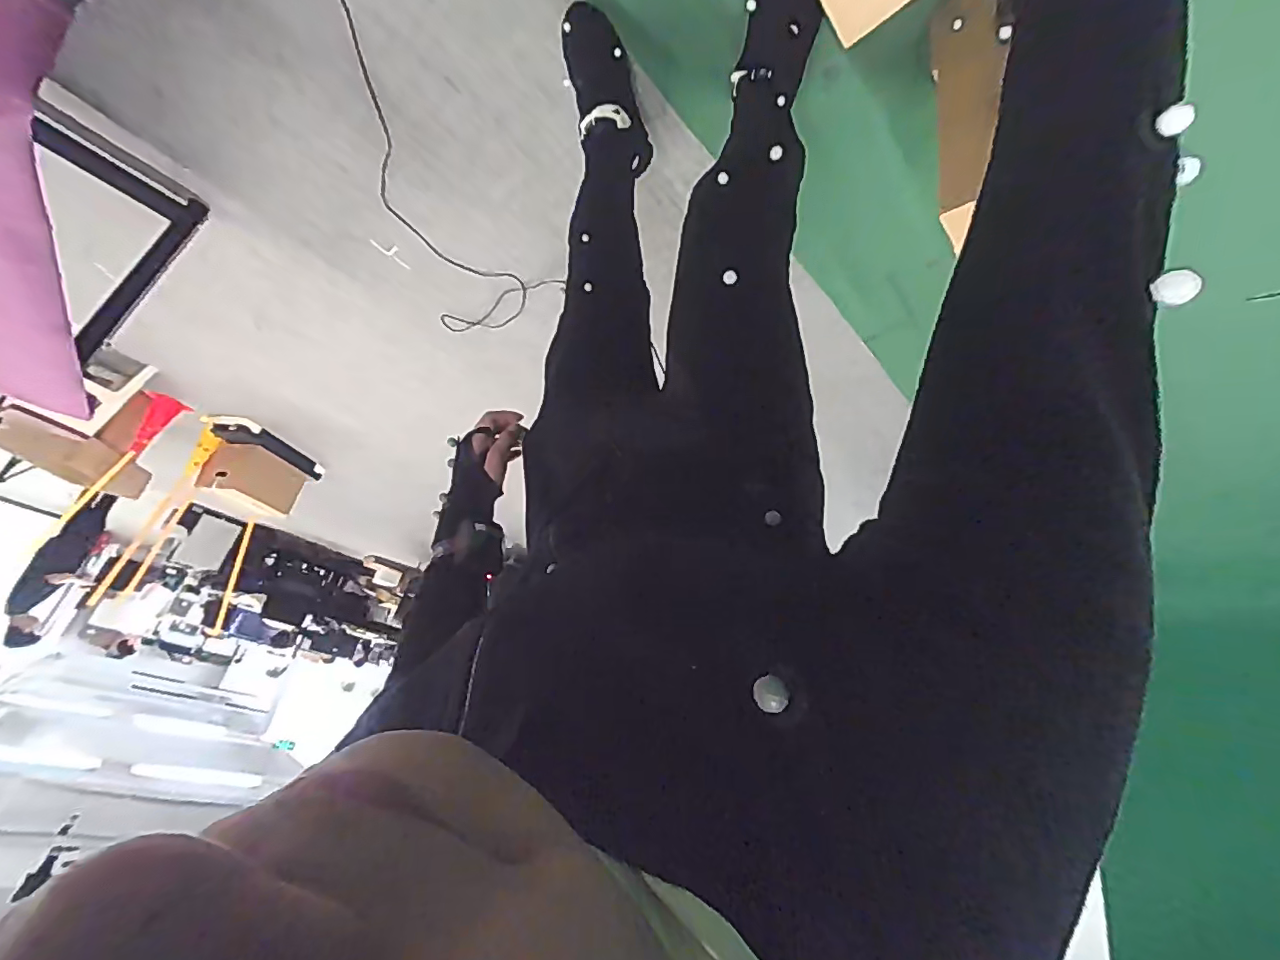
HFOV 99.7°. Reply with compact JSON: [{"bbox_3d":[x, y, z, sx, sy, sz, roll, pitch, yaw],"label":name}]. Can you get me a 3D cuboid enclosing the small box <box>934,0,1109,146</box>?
[{"bbox_3d":[0.528,-0.522,0.743,0.179,0.176,0.168,-10,148,45],"label":"small box"}]
